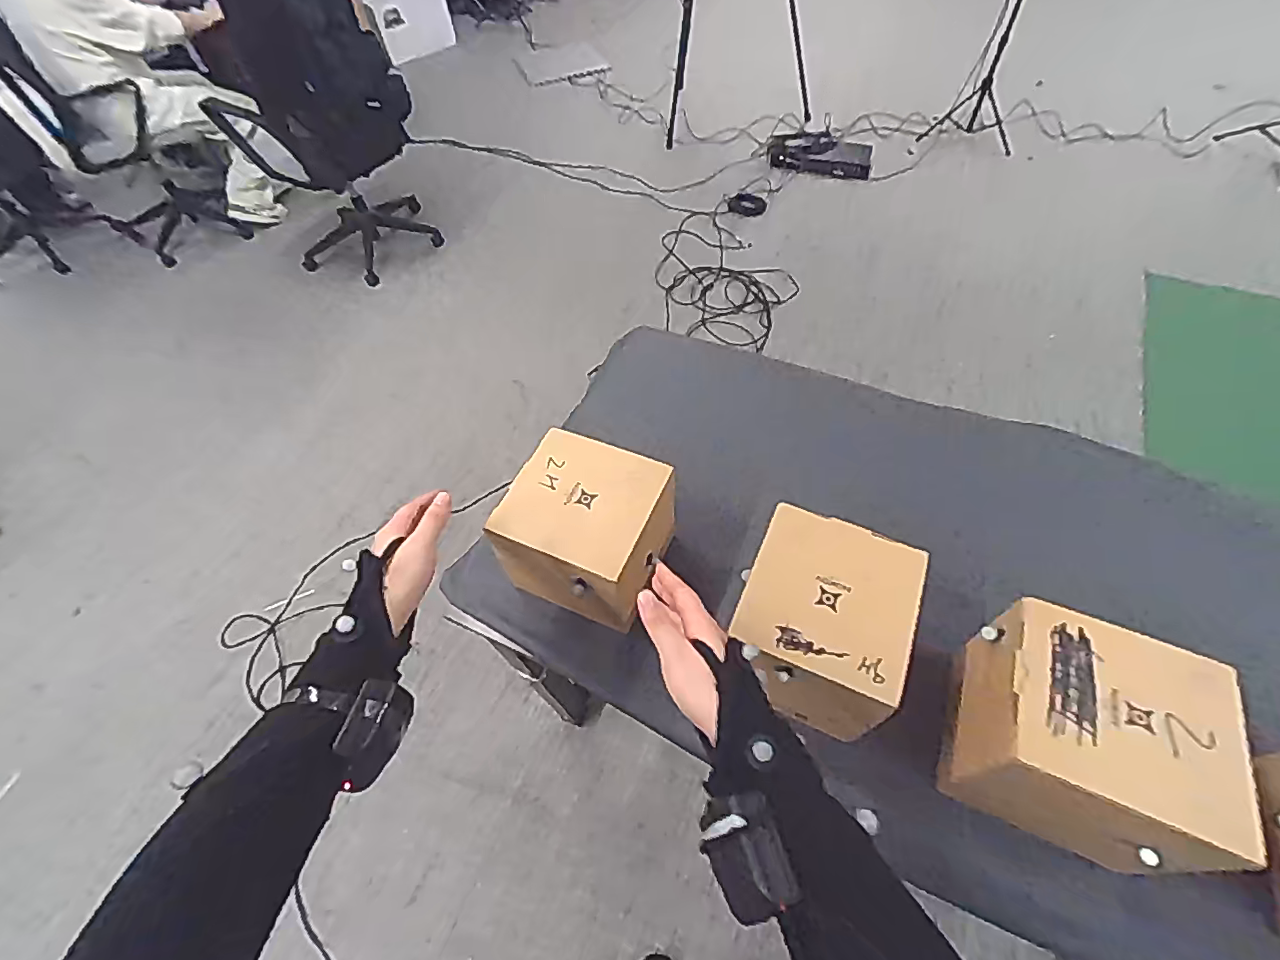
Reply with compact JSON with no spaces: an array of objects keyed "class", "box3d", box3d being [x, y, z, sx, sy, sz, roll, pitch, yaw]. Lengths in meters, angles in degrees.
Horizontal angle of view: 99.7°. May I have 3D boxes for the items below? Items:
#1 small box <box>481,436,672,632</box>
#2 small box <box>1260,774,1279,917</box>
[{"class":"small box","box3d":[-0.068,0.076,0.702,0.179,0.176,0.168,19,58,17]},{"class":"small box","box3d":[0.689,0.338,0.438,0.179,0.176,0.168,18,55,19]}]
